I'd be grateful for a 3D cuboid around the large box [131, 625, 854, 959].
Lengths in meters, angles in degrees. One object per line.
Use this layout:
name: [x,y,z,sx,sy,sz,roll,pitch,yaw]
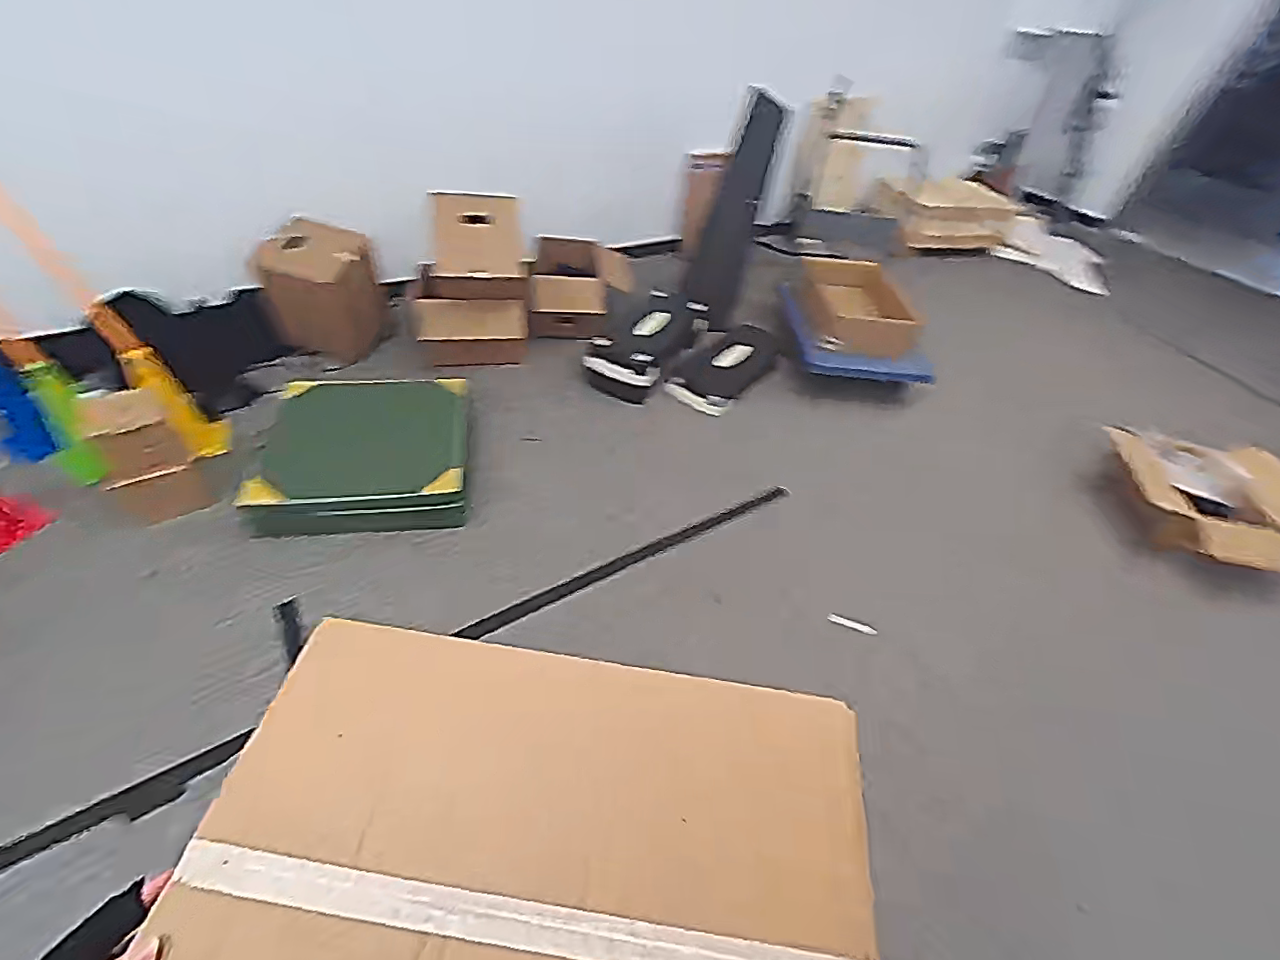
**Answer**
large box: [-0.078,0.346,0.430,0.408,0.320,0.320,7,48,3]
